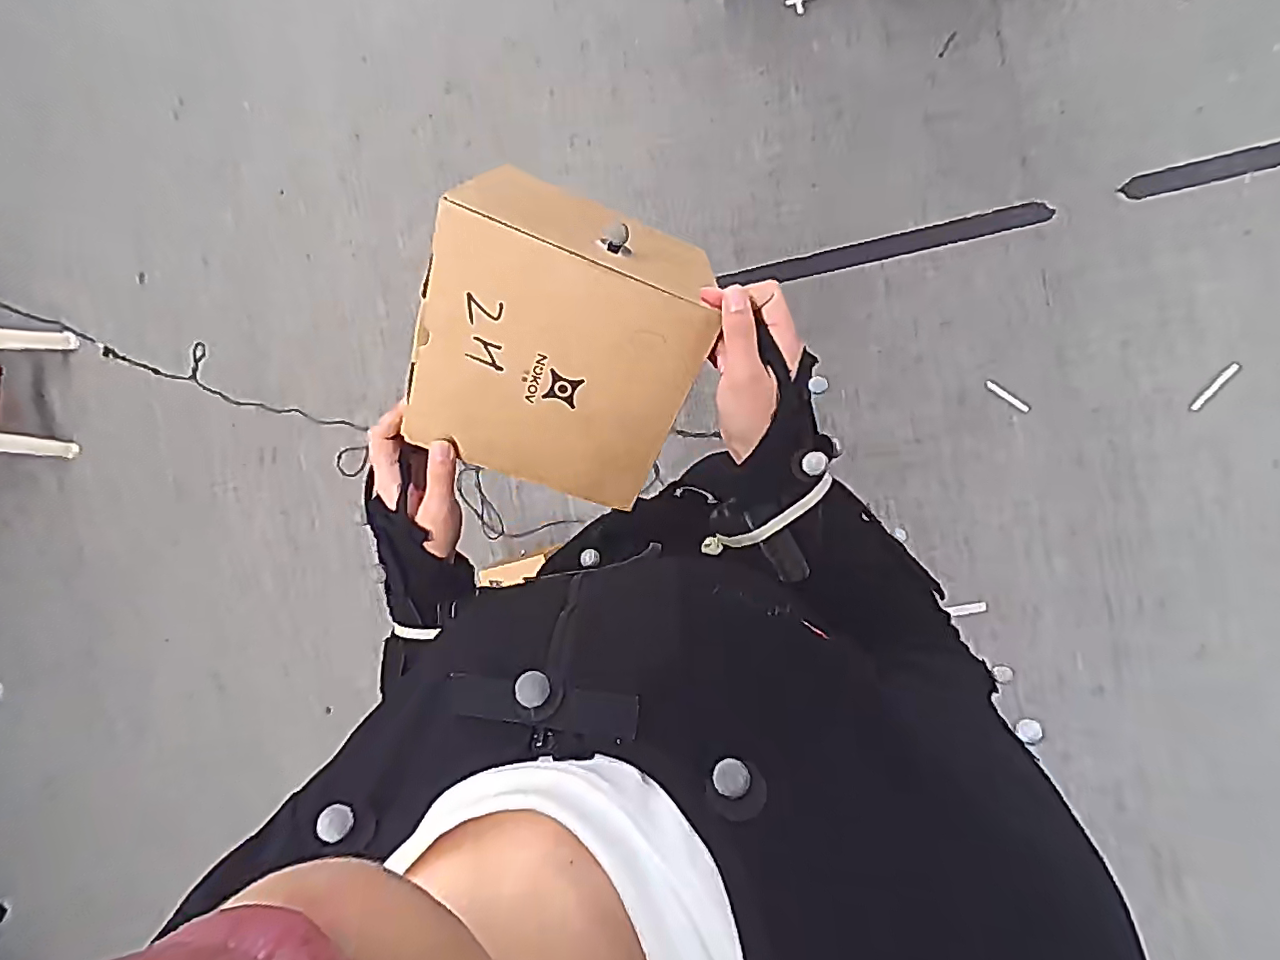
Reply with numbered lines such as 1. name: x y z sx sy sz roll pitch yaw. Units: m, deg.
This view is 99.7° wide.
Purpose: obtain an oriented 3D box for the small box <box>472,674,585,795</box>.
1. small box: -0.239 0.550 1.197 0.168 0.176 0.179 -19 90 11

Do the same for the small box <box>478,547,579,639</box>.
1. small box: -0.272 0.277 1.351 0.179 0.176 0.168 -15 91 10
